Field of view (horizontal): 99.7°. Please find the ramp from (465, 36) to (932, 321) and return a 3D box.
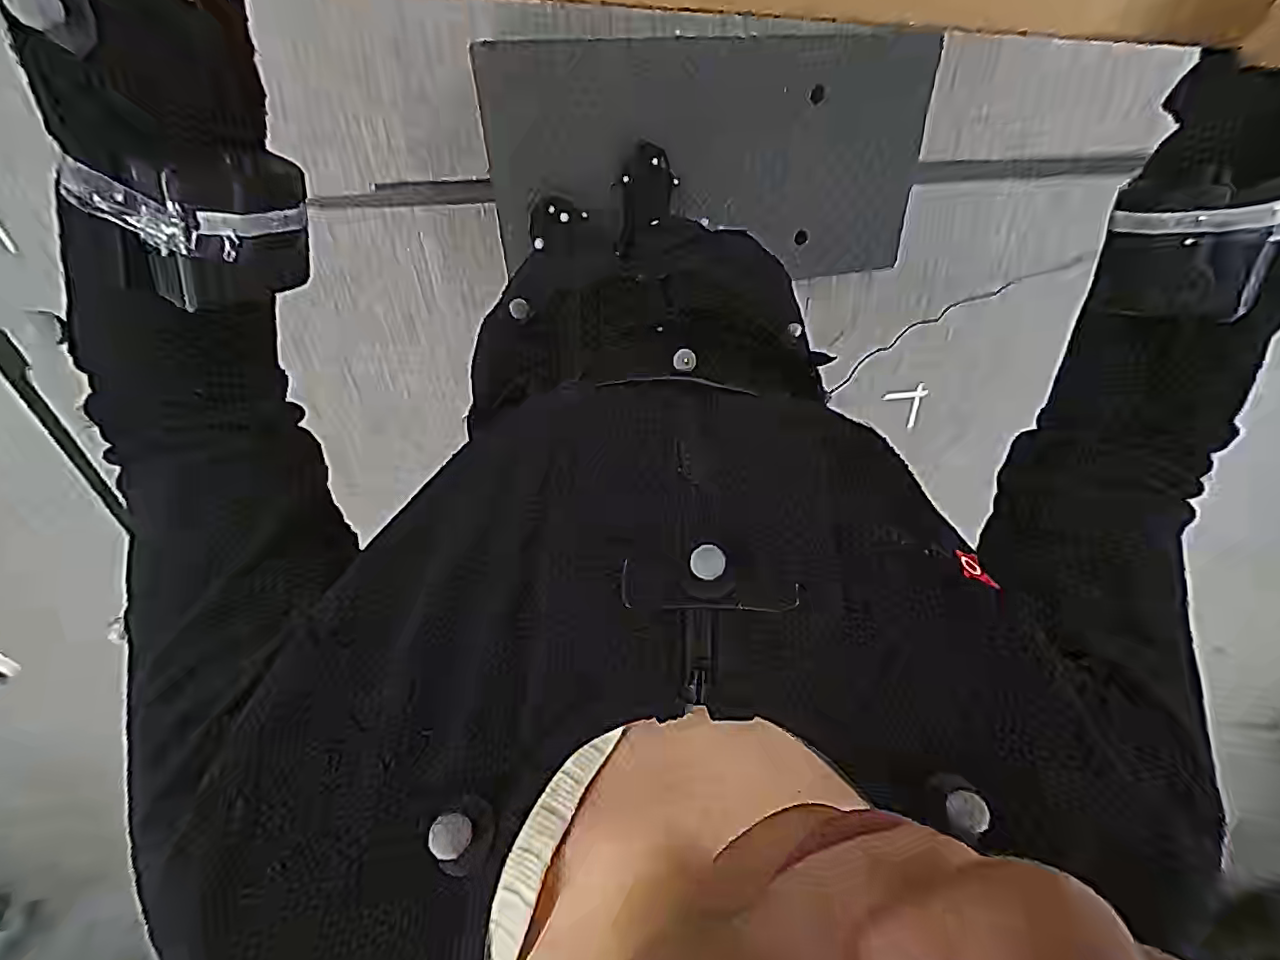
[{"bbox_3d":[0.172,-0.664,1.198,0.991,0.206,0.509,-7,123,-3],"label":"ramp"}]
